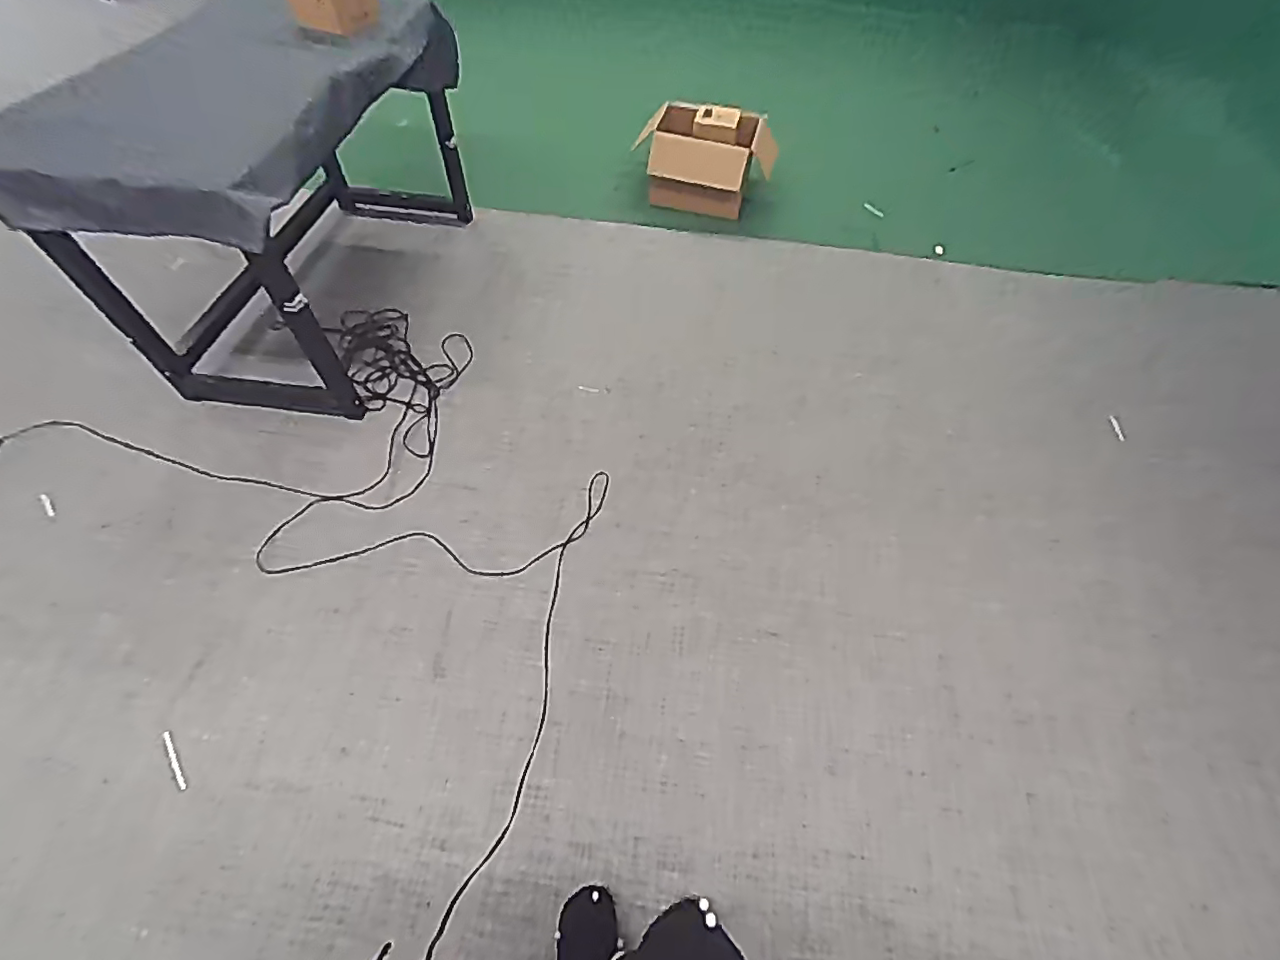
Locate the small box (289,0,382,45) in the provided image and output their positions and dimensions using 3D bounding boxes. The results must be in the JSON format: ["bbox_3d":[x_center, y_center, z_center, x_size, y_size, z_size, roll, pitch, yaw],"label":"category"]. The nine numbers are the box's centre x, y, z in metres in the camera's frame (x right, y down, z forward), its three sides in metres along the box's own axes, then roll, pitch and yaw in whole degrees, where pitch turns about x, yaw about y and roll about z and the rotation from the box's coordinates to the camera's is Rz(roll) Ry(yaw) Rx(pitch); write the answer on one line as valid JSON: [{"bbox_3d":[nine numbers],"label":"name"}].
[{"bbox_3d":[-0.884,-1.385,1.555,0.179,0.176,0.168,22,56,13],"label":"small box"}]
